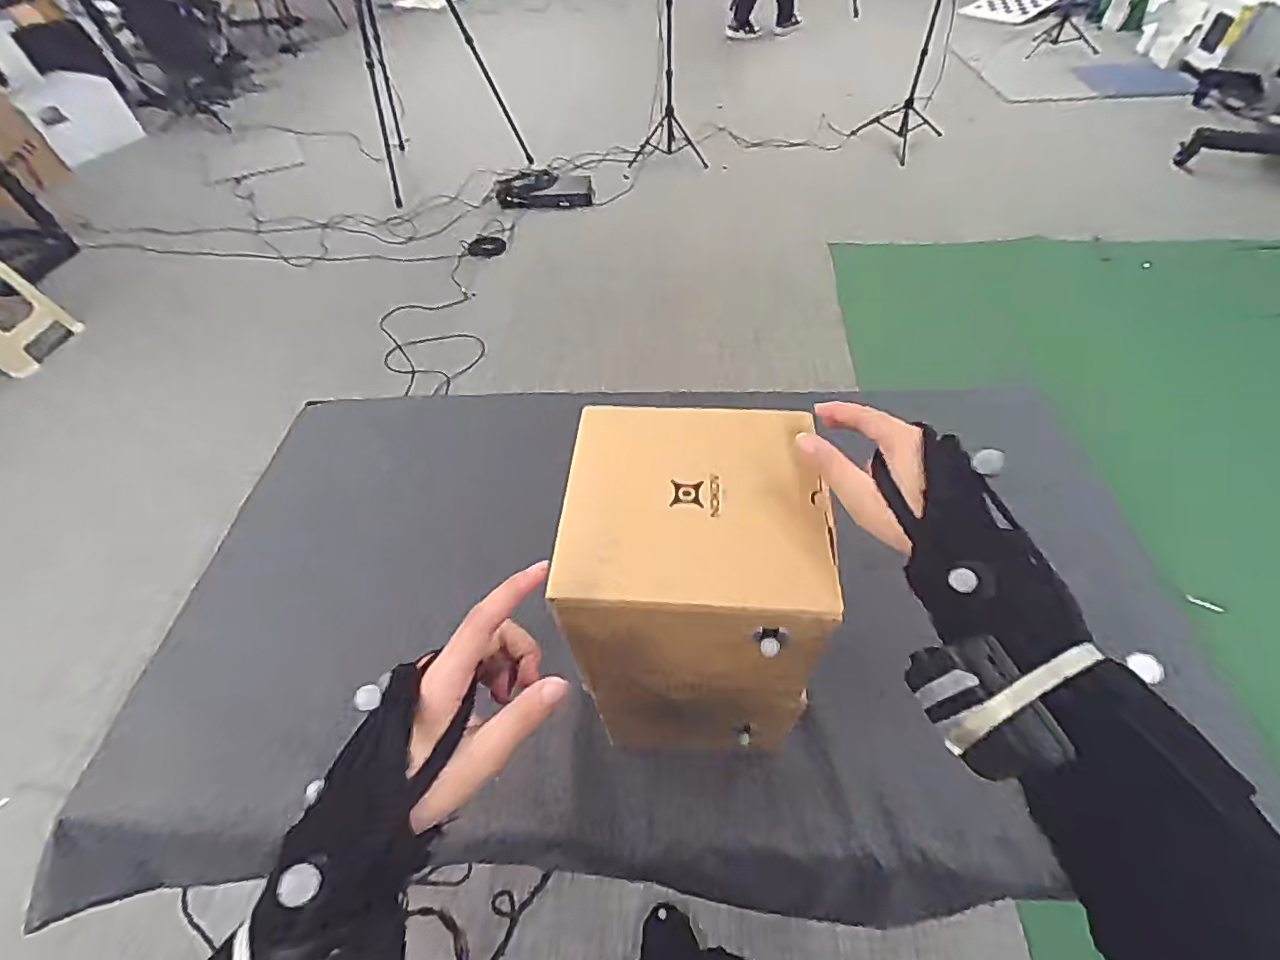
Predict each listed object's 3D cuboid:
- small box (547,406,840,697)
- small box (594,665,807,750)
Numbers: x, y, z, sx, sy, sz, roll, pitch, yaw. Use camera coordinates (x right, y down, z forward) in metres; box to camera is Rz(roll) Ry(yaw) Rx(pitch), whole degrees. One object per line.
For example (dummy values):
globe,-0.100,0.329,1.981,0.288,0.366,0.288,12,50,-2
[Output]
small box,0.040,0.060,0.427,0.179,0.176,0.168,2,51,5
small box,0.057,0.165,0.550,0.179,0.176,0.168,-1,50,5
